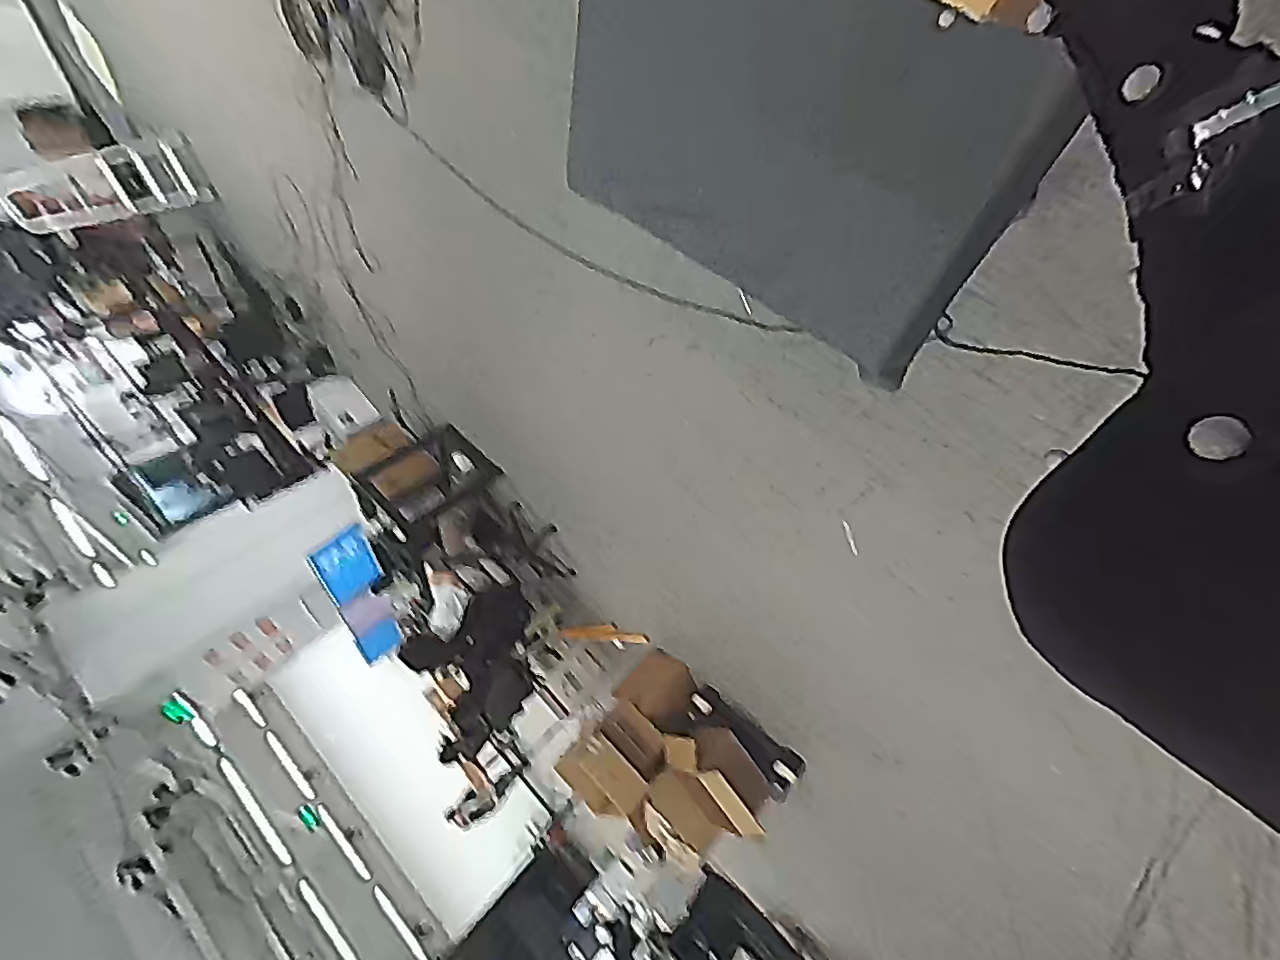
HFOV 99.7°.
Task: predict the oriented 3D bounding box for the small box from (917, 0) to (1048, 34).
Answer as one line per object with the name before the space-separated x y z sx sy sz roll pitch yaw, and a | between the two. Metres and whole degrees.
small box | 0.244 -0.445 0.374 0.179 0.176 0.168 42 140 15
